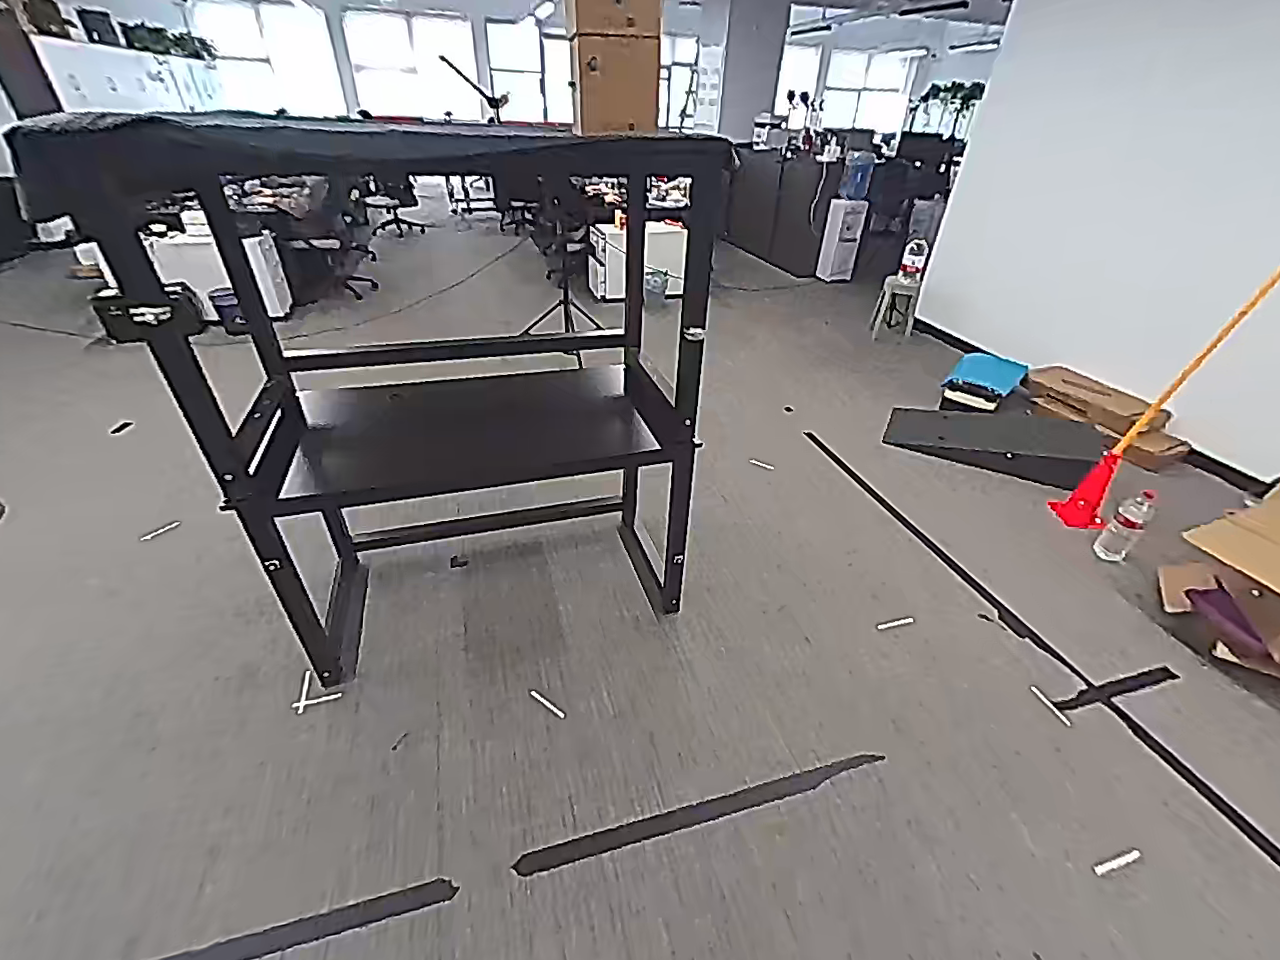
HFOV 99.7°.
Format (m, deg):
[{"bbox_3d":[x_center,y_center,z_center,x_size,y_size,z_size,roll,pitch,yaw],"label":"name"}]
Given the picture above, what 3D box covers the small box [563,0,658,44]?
[{"bbox_3d":[-0.063,-0.963,1.054,0.168,0.176,0.179,-8,35,-11],"label":"small box"}]
